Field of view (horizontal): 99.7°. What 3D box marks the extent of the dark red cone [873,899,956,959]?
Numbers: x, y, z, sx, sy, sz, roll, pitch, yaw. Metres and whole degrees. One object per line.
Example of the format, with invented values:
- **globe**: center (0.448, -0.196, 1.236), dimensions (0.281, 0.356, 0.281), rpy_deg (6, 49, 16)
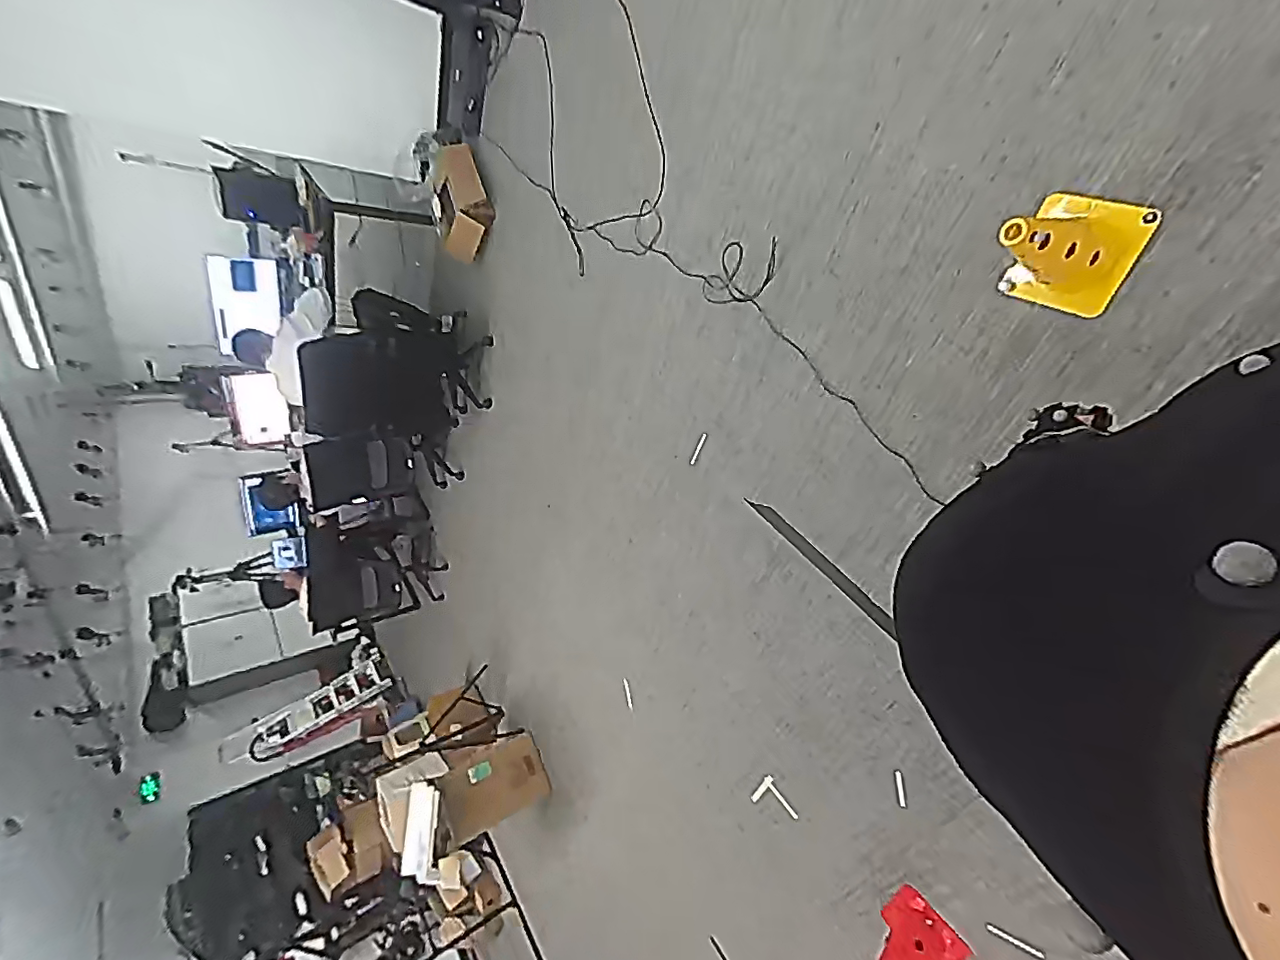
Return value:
- **dark red cone**: center (0.658, 1.351, 1.438), dimensions (0.202, 0.394, 0.201), rpy_deg (40, 126, 38)
